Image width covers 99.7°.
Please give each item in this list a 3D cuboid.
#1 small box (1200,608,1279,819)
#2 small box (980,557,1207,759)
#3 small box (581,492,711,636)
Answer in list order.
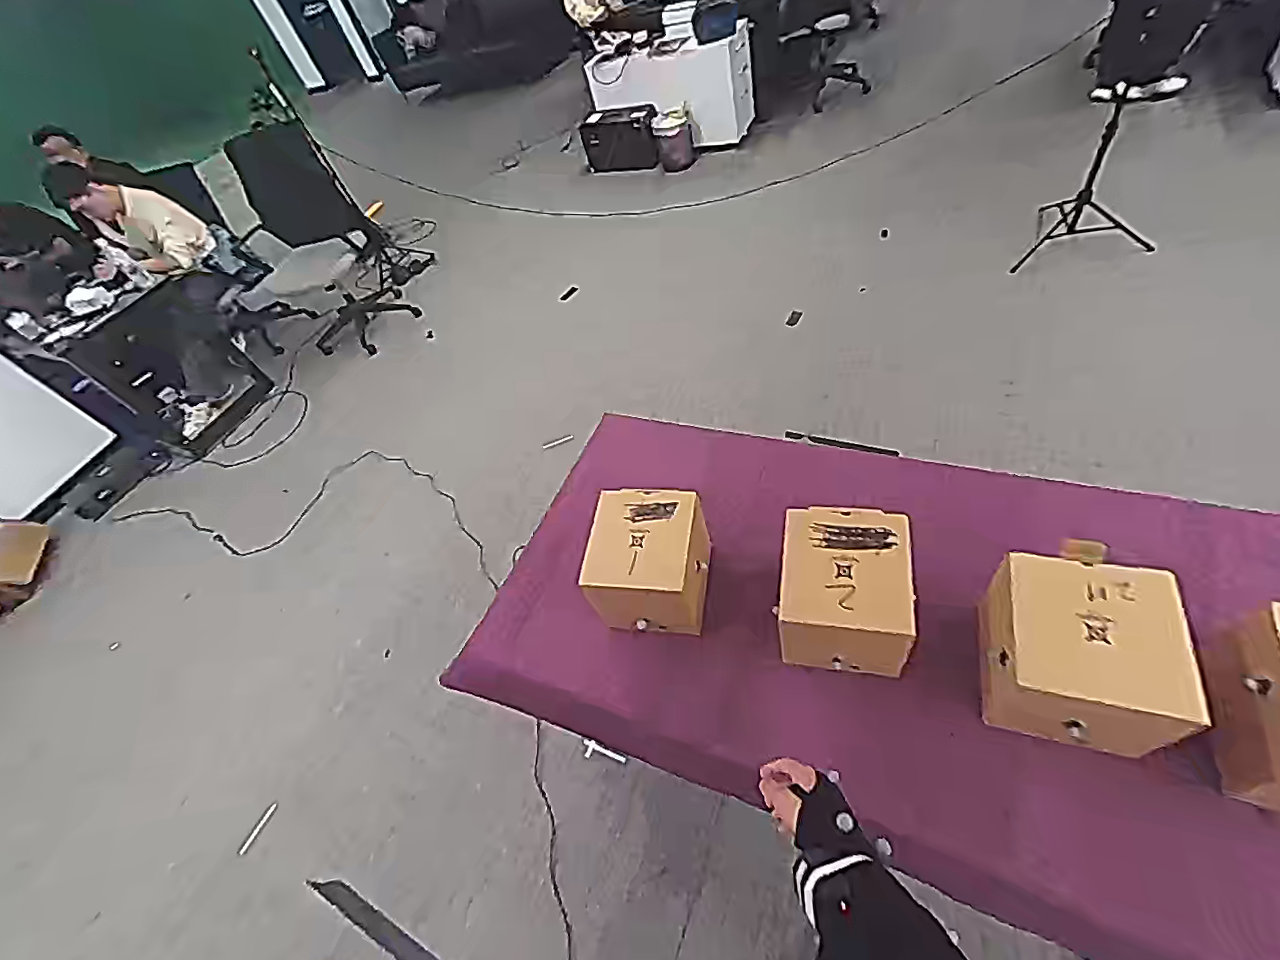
[{"bbox_3d":[0.753,0.266,0.574,0.168,0.176,0.179,8,55,25],"label":"small box"},{"bbox_3d":[0.540,0.223,0.675,0.168,0.176,0.179,7,55,22],"label":"small box"},{"bbox_3d":[0.021,0.139,0.904,0.168,0.176,0.179,0,54,18],"label":"small box"}]
